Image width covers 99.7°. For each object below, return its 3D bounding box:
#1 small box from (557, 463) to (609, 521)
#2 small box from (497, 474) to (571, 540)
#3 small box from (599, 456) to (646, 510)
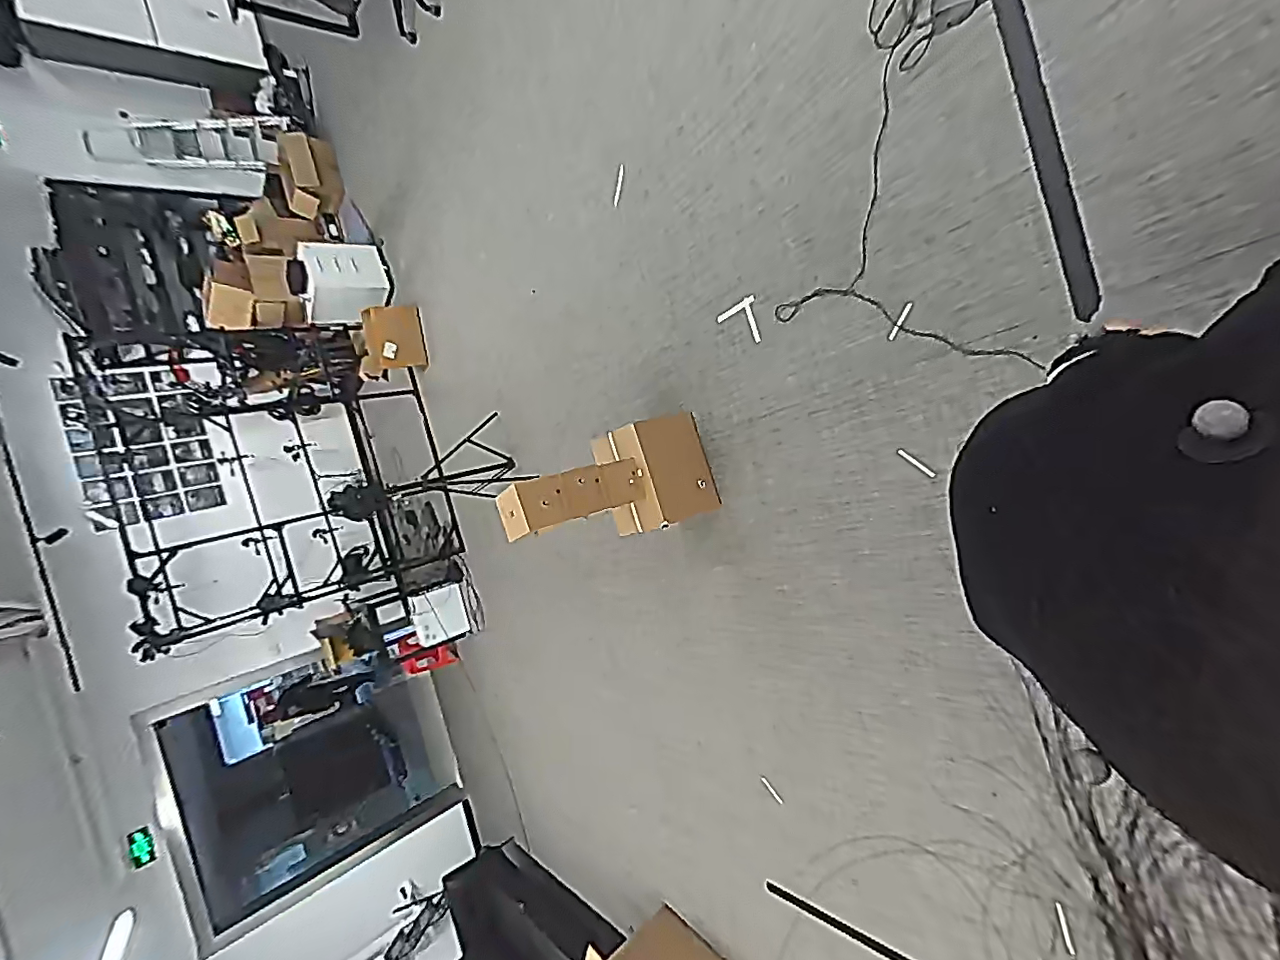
[{"bbox_3d":[-0.226,0.049,1.925,0.179,0.176,0.168,-23,84,53],"label":"small box"},{"bbox_3d":[-0.352,0.089,1.826,0.179,0.176,0.168,-29,79,51],"label":"small box"},{"bbox_3d":[-0.106,0.018,2.029,0.179,0.176,0.168,-20,87,51],"label":"small box"}]
